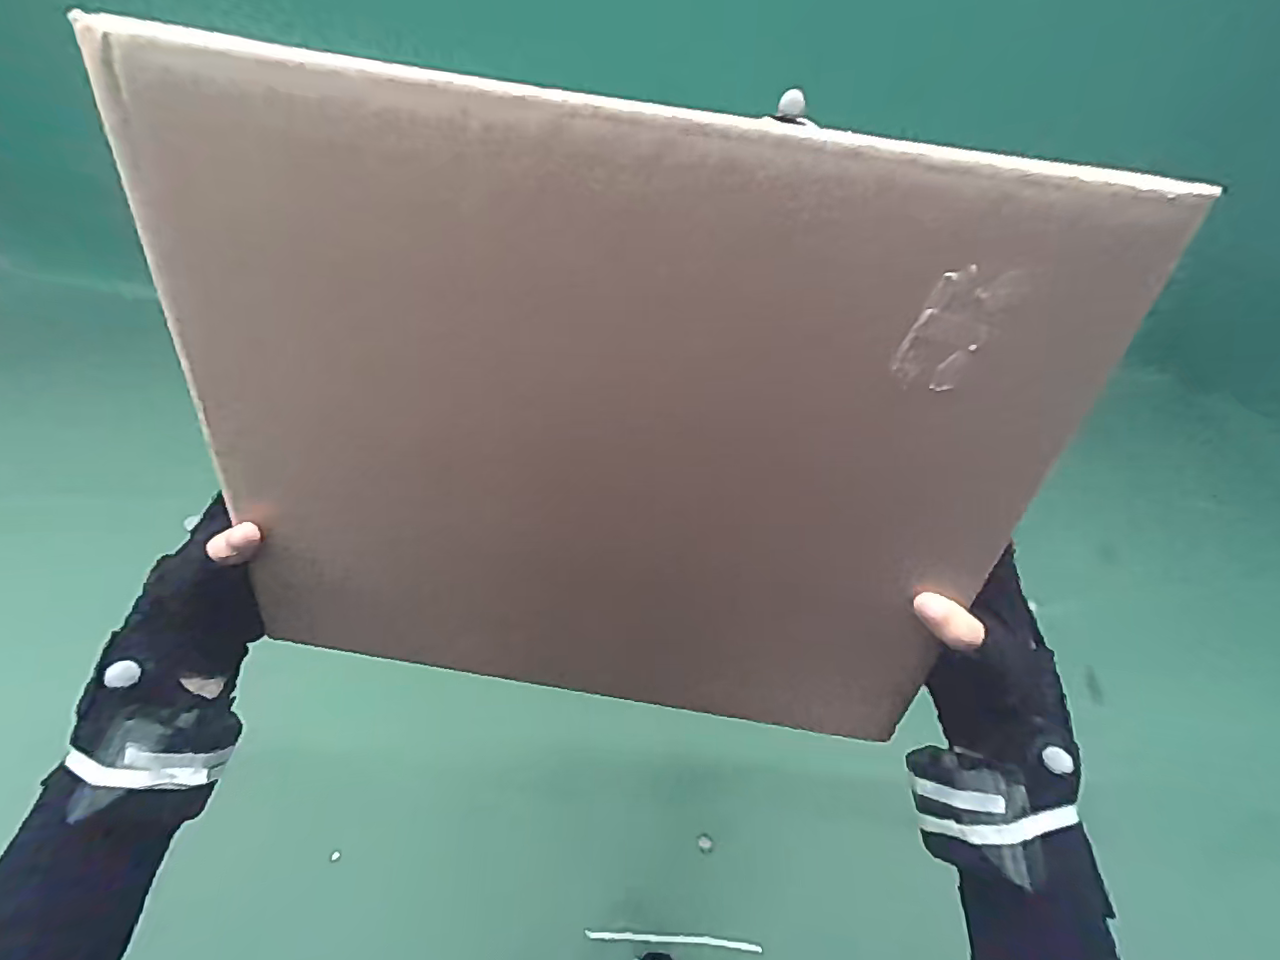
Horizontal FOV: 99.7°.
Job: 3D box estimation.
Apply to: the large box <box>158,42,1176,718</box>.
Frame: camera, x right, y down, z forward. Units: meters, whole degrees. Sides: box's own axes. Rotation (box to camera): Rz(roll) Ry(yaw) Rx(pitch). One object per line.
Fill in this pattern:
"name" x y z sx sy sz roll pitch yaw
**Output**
"large box" 0.000 -0.074 0.406 0.408 0.320 0.320 10 31 1
